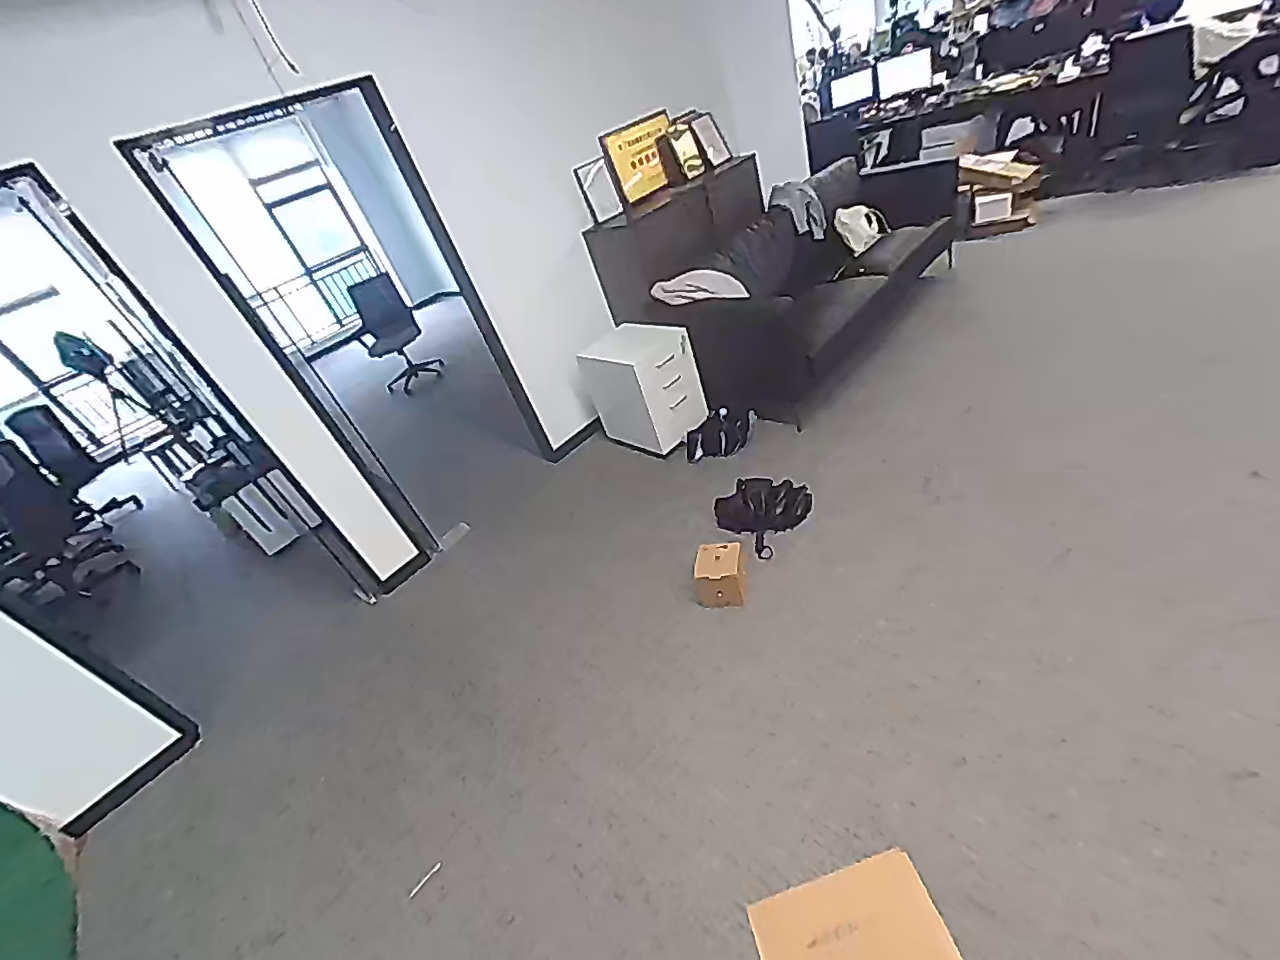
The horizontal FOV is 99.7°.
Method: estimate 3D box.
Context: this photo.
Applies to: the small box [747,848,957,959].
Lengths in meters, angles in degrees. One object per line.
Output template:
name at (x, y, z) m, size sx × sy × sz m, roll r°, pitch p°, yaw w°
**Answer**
small box at (0.224, 0.494, 0.511) m, size 0.168 × 0.176 × 0.179 m, roll -24°, pitch 36°, yaw 4°
